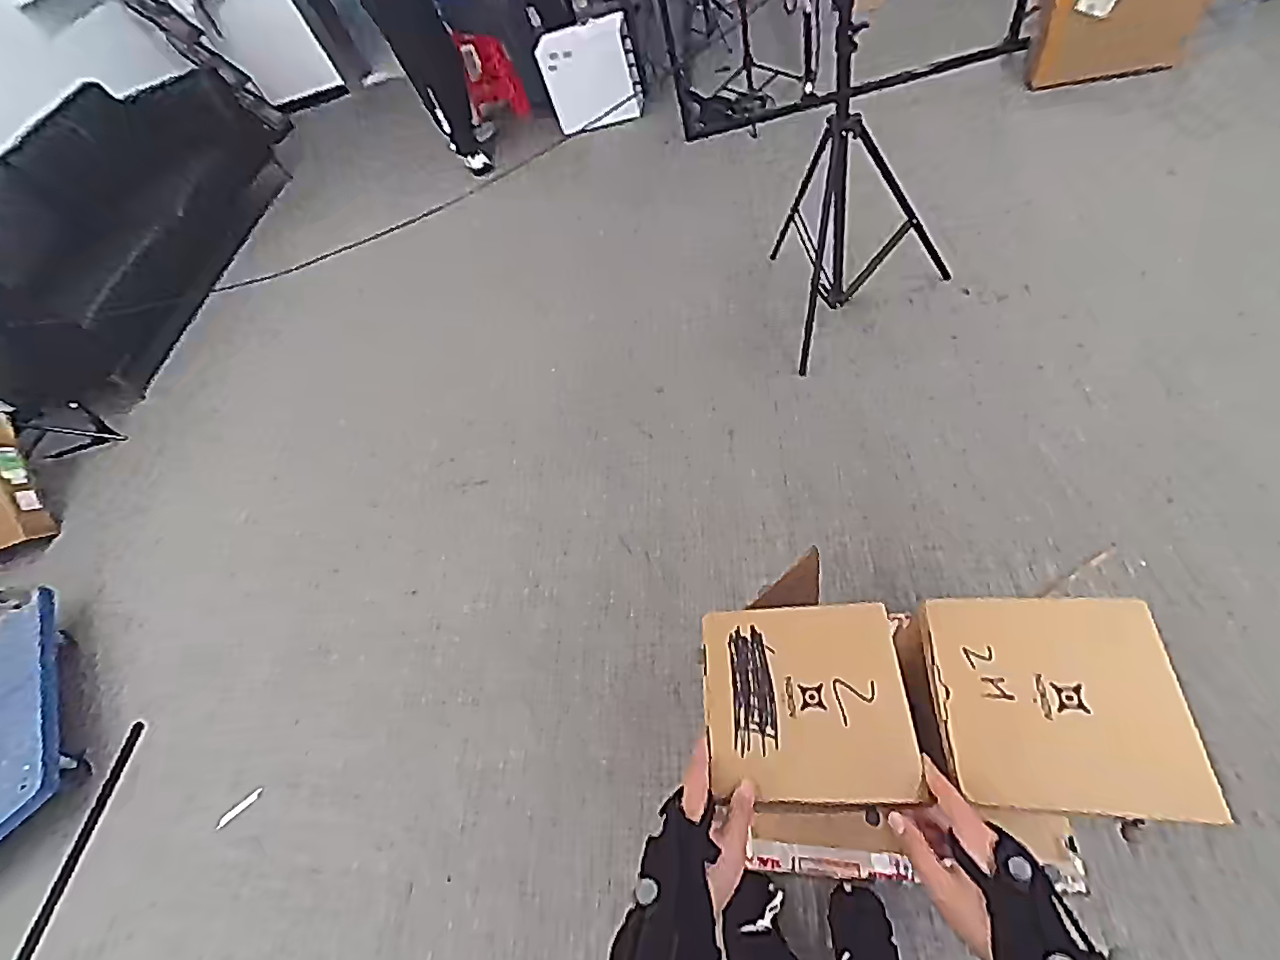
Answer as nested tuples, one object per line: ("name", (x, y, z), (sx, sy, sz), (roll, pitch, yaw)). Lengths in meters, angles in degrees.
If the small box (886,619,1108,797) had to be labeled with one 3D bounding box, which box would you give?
("small box", (0.401, 0.276, 0.650), (0.179, 0.176, 0.168), (0, 60, 16))
